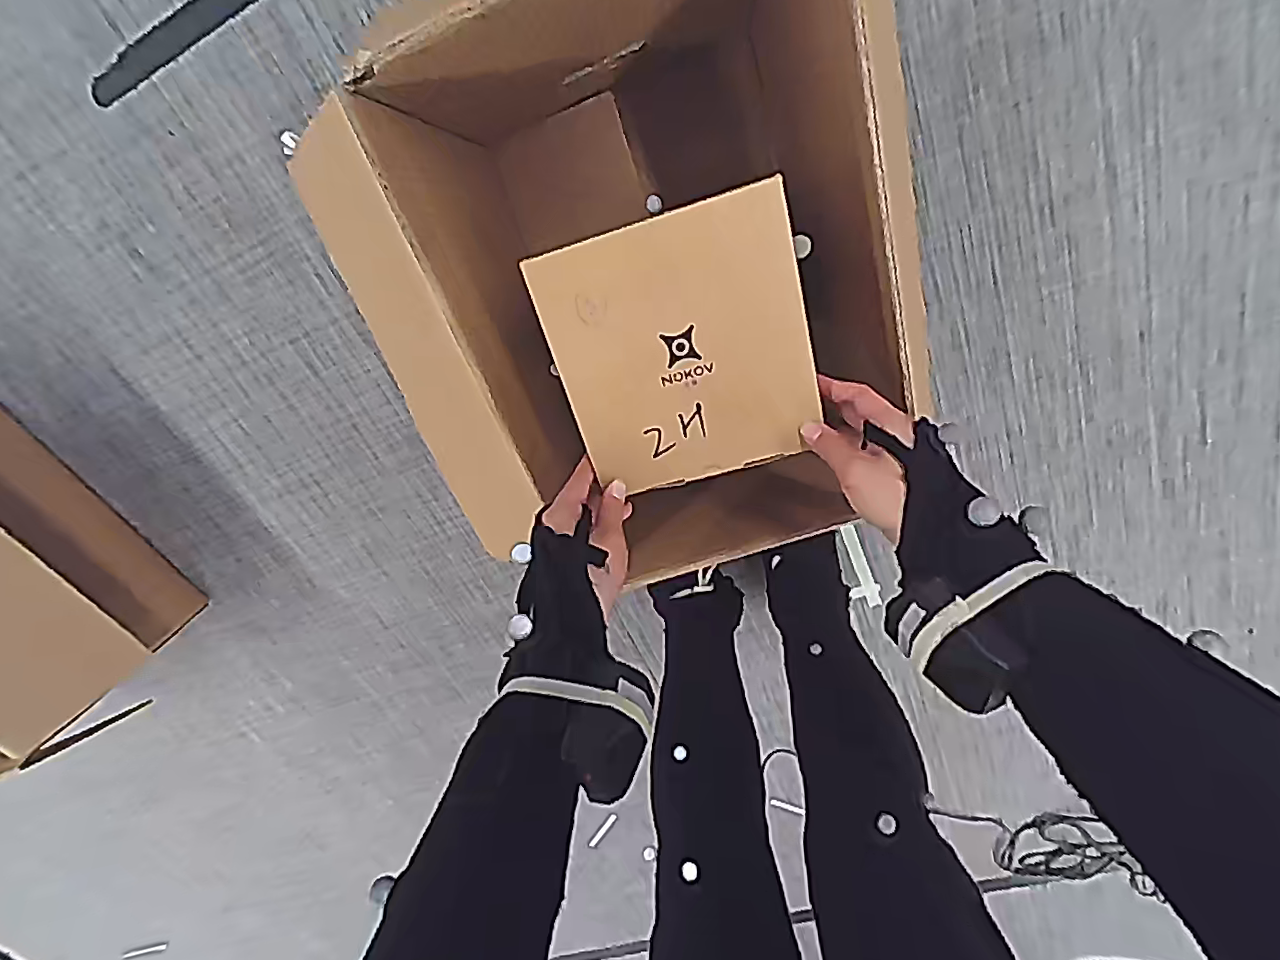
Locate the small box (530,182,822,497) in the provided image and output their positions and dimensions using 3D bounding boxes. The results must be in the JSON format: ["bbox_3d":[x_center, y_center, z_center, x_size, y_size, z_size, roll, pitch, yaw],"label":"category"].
[{"bbox_3d":[0.032,-0.114,0.437,0.168,0.176,0.179,-14,113,9],"label":"small box"}]
